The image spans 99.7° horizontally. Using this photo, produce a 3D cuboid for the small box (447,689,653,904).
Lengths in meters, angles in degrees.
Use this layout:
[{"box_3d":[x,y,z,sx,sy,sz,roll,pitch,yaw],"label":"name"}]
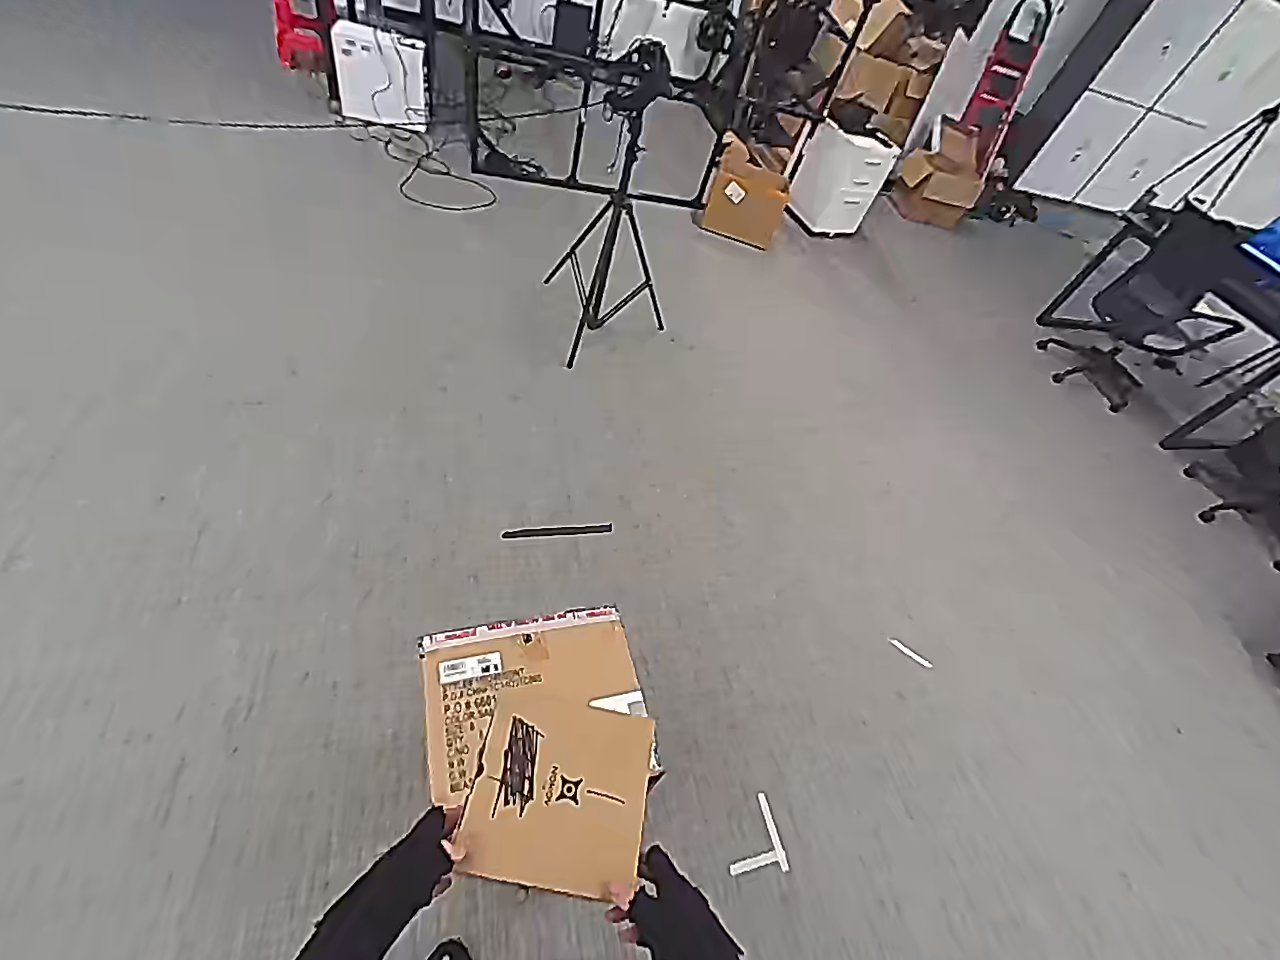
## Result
[{"box_3d":[-0.096,0.358,0.605,0.179,0.176,0.168,14,50,-4],"label":"small box"}]
